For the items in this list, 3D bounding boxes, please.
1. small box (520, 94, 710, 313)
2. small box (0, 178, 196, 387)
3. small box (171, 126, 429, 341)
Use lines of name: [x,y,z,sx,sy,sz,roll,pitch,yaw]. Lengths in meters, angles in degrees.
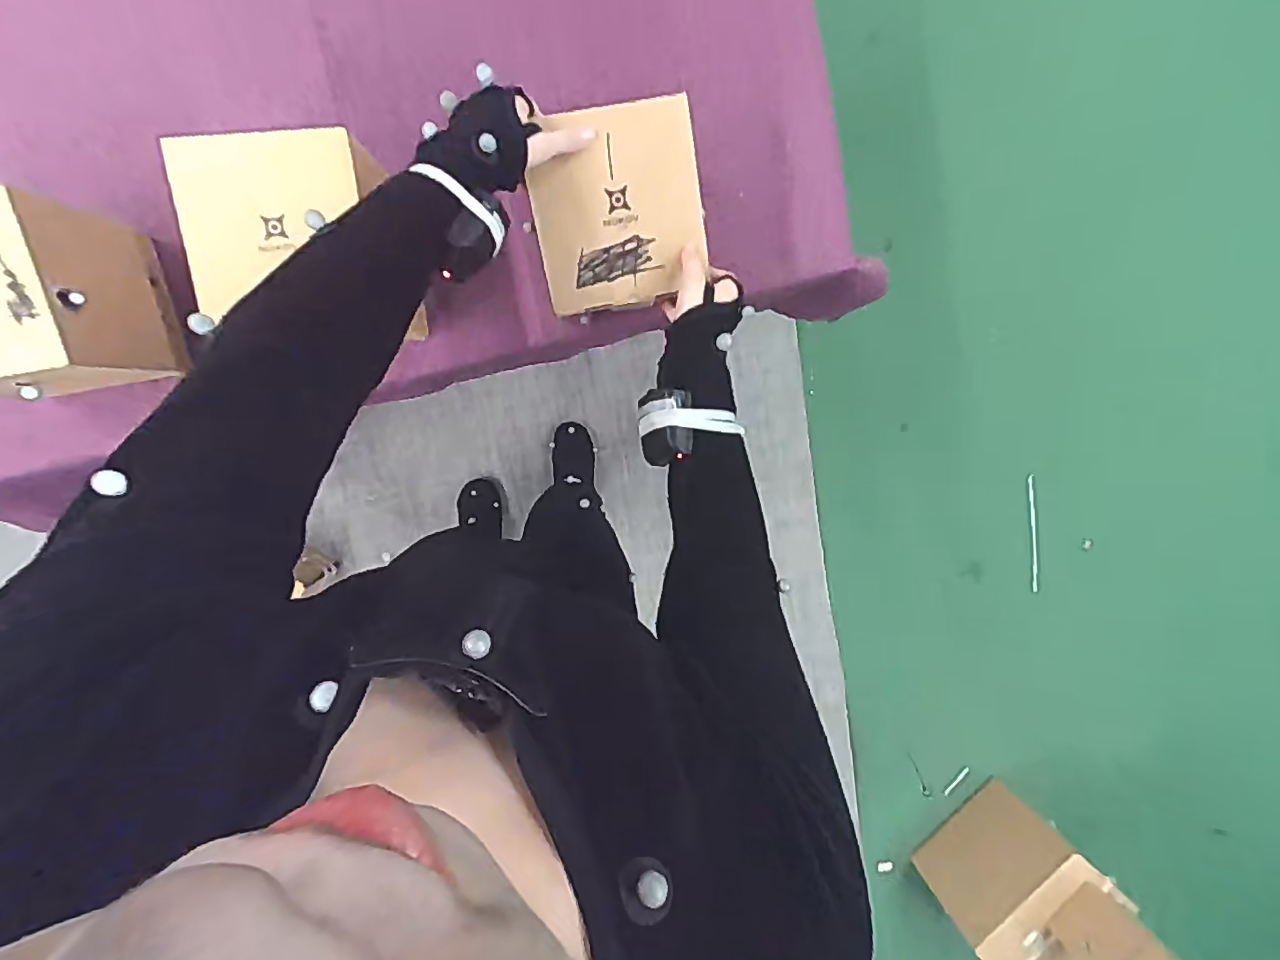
small box: [-0.027,-0.289,0.601,0.168,0.176,0.179,-11,108,-3]
small box: [-0.637,-0.191,0.572,0.179,0.176,0.168,-11,102,-3]
small box: [-0.347,-0.253,0.591,0.168,0.176,0.179,-6,102,-4]
